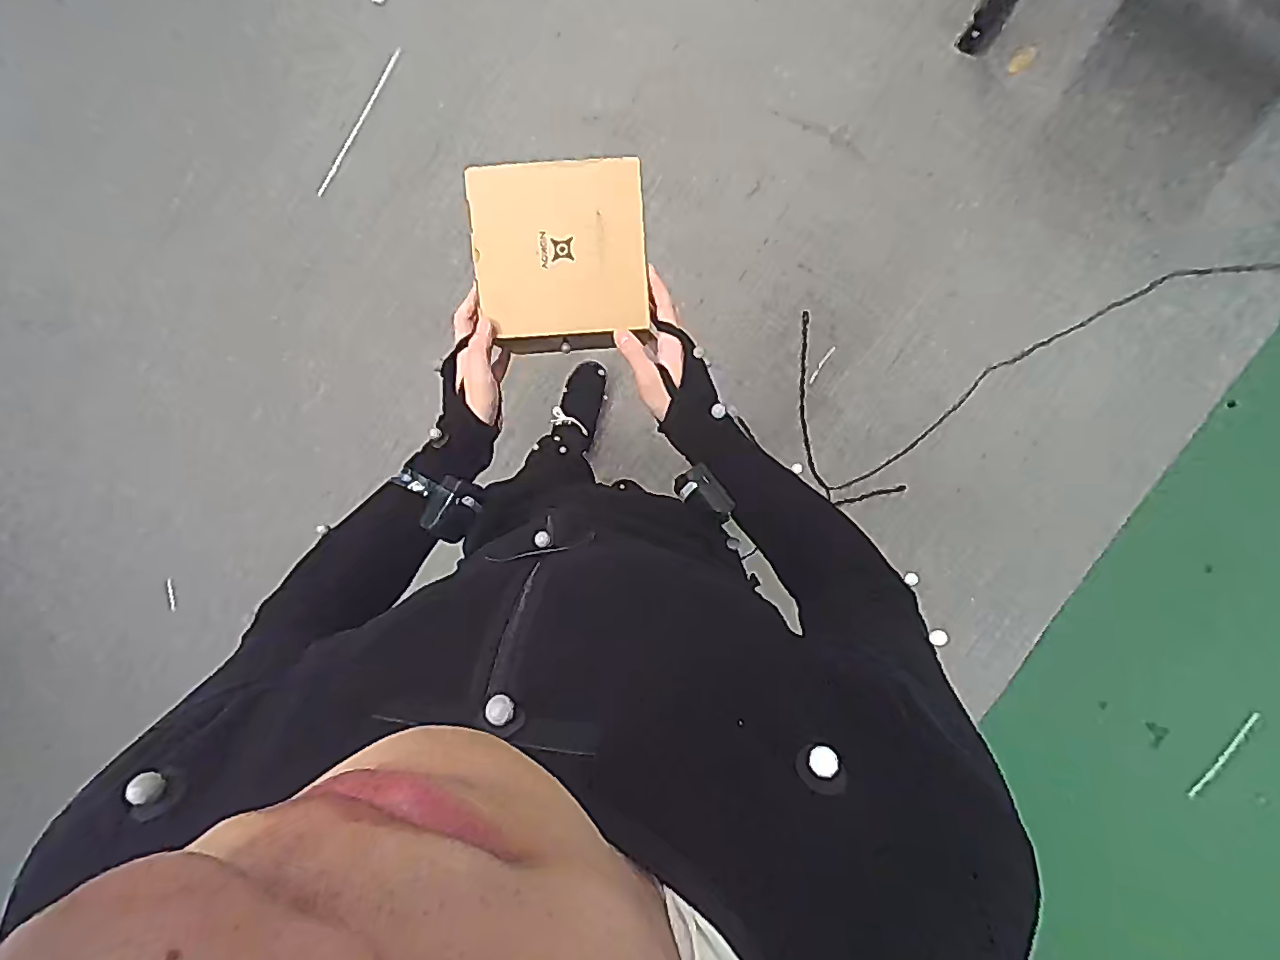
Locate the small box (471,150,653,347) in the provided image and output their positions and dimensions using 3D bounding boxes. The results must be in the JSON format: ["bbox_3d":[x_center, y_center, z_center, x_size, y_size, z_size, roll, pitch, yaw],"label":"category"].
[{"bbox_3d":[-0.076,-0.246,0.615,0.179,0.176,0.168,-3,98,0],"label":"small box"}]

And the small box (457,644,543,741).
[{"bbox_3d":[-0.404,0.618,1.600,0.168,0.176,0.179,33,95,-1],"label":"small box"}]
